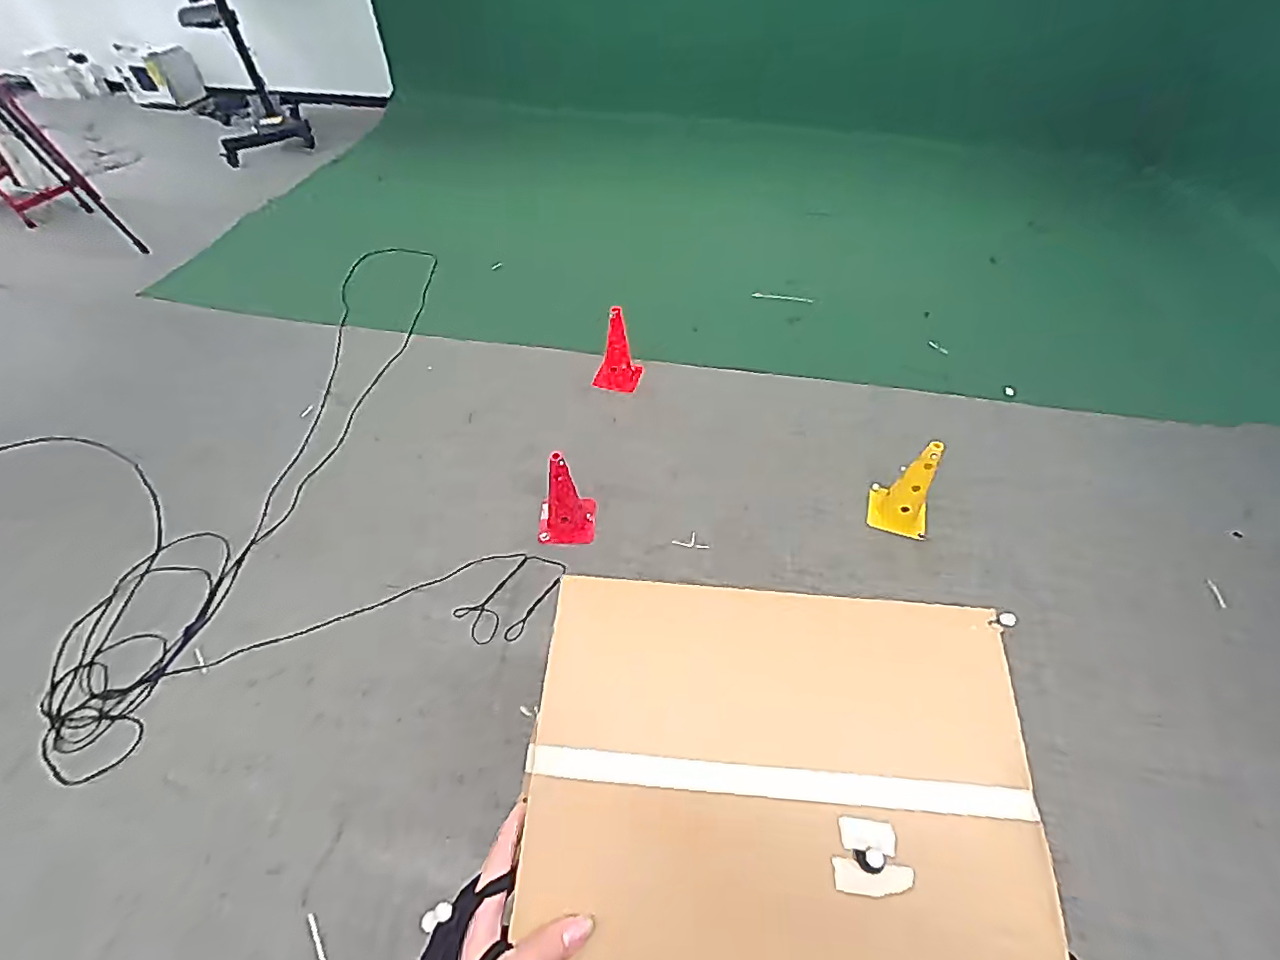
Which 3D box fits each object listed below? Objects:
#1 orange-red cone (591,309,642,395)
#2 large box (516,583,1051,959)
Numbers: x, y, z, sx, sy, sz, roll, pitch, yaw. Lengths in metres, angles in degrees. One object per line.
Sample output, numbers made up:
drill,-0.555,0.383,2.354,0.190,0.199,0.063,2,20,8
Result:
orange-red cone,-0.109,-0.576,2.354,0.199,0.360,0.198,13,50,12
large box,0.112,0.315,0.585,0.408,0.320,0.320,4,64,2
